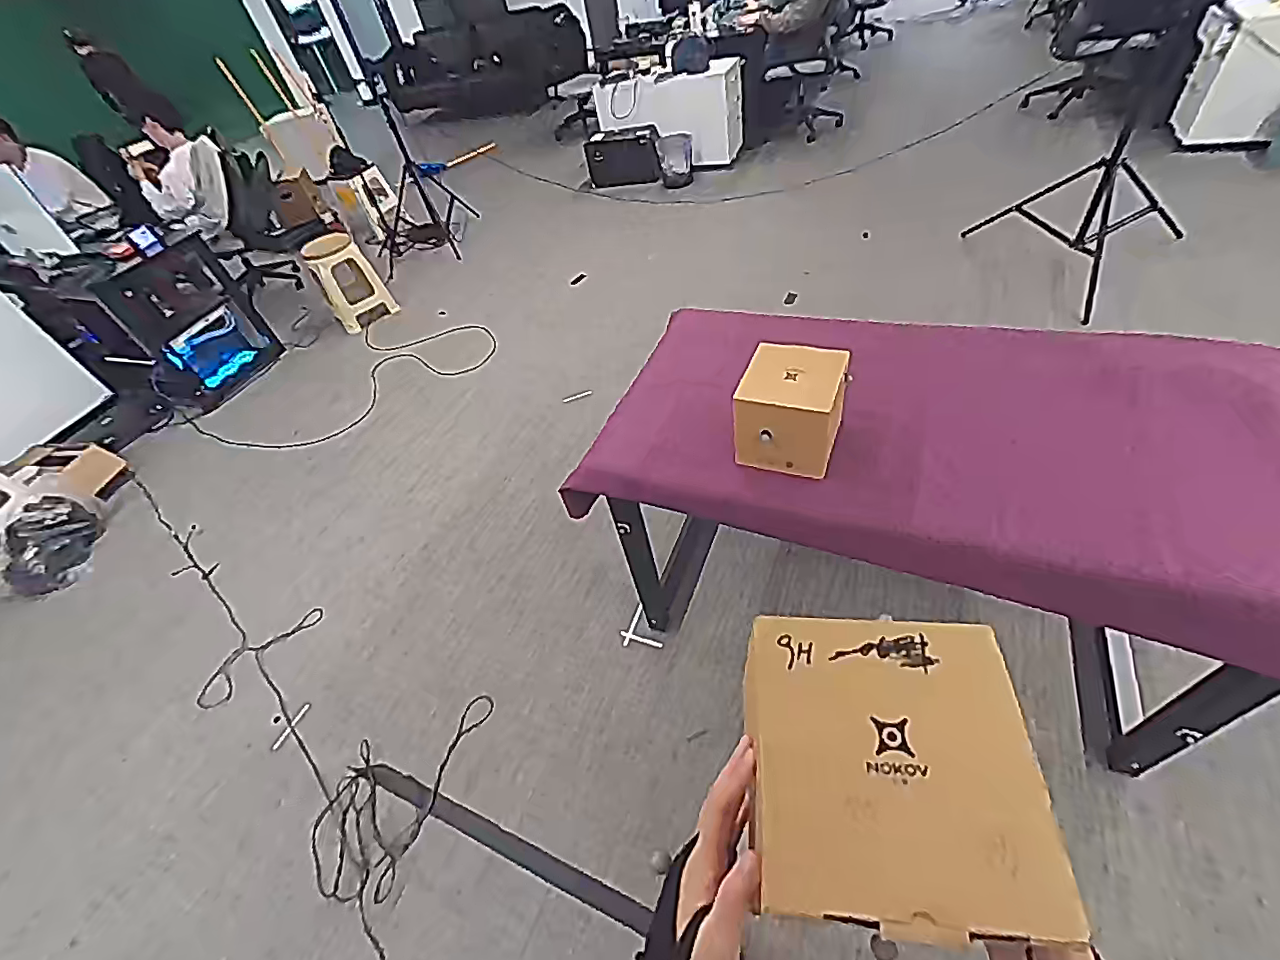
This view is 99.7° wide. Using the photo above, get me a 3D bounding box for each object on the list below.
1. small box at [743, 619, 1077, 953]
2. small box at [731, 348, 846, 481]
[{"bbox_3d":[0.166,0.223,0.405,0.168,0.176,0.179,1,52,8],"label":"small box"},{"bbox_3d":[0.279,-0.123,1.014,0.168,0.176,0.179,13,51,23],"label":"small box"}]
